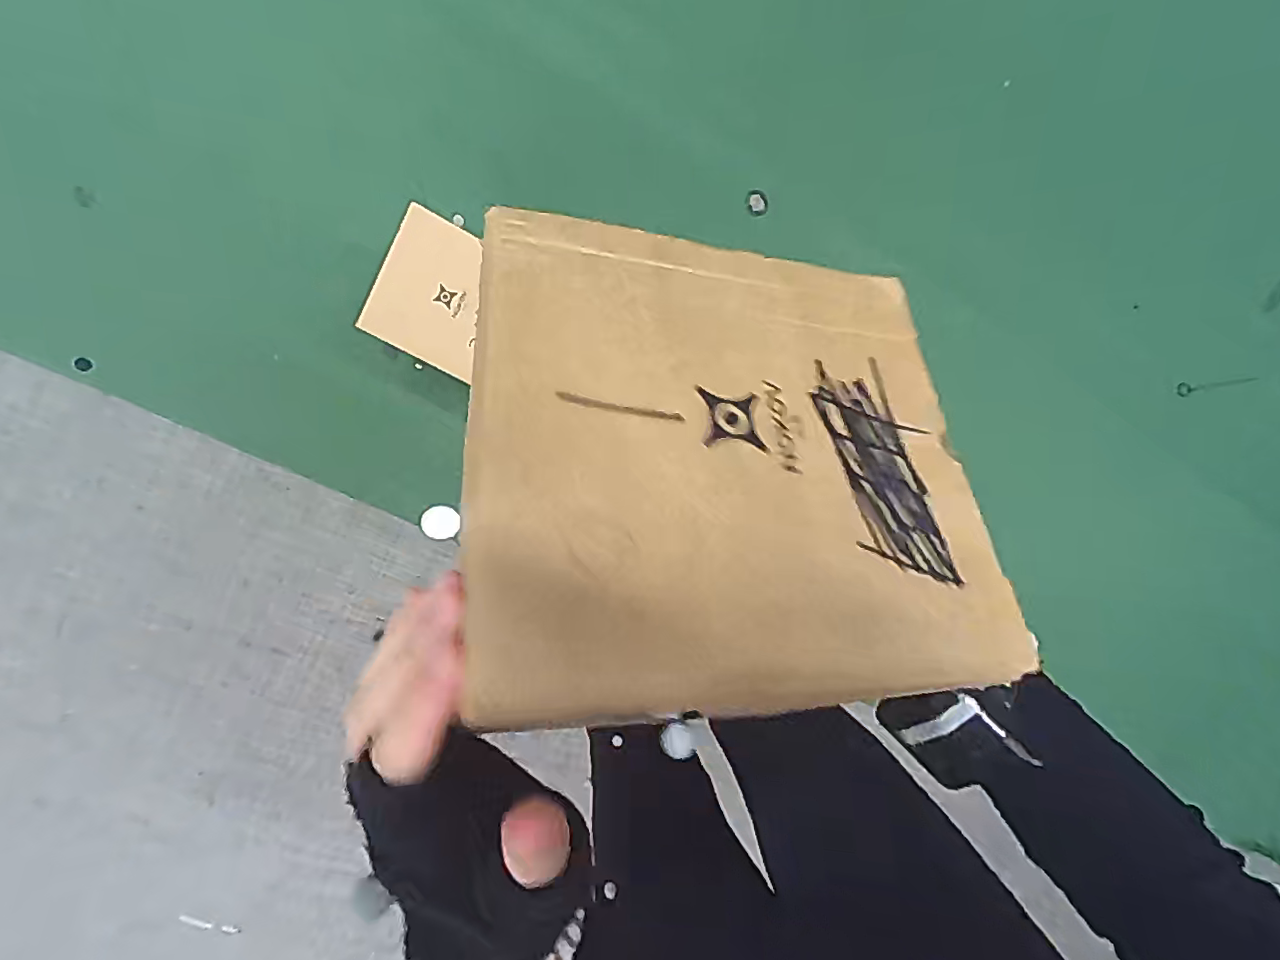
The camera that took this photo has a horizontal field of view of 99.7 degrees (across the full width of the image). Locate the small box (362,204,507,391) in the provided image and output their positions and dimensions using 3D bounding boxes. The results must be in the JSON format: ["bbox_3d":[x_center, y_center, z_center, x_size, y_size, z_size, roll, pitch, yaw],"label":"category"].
[{"bbox_3d":[-0.238,-0.236,0.744,0.179,0.176,0.168,27,97,-13],"label":"small box"}]

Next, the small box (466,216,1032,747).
[{"bbox_3d":[0.017,0.020,0.250,0.179,0.176,0.168,2,66,-19],"label":"small box"}]
